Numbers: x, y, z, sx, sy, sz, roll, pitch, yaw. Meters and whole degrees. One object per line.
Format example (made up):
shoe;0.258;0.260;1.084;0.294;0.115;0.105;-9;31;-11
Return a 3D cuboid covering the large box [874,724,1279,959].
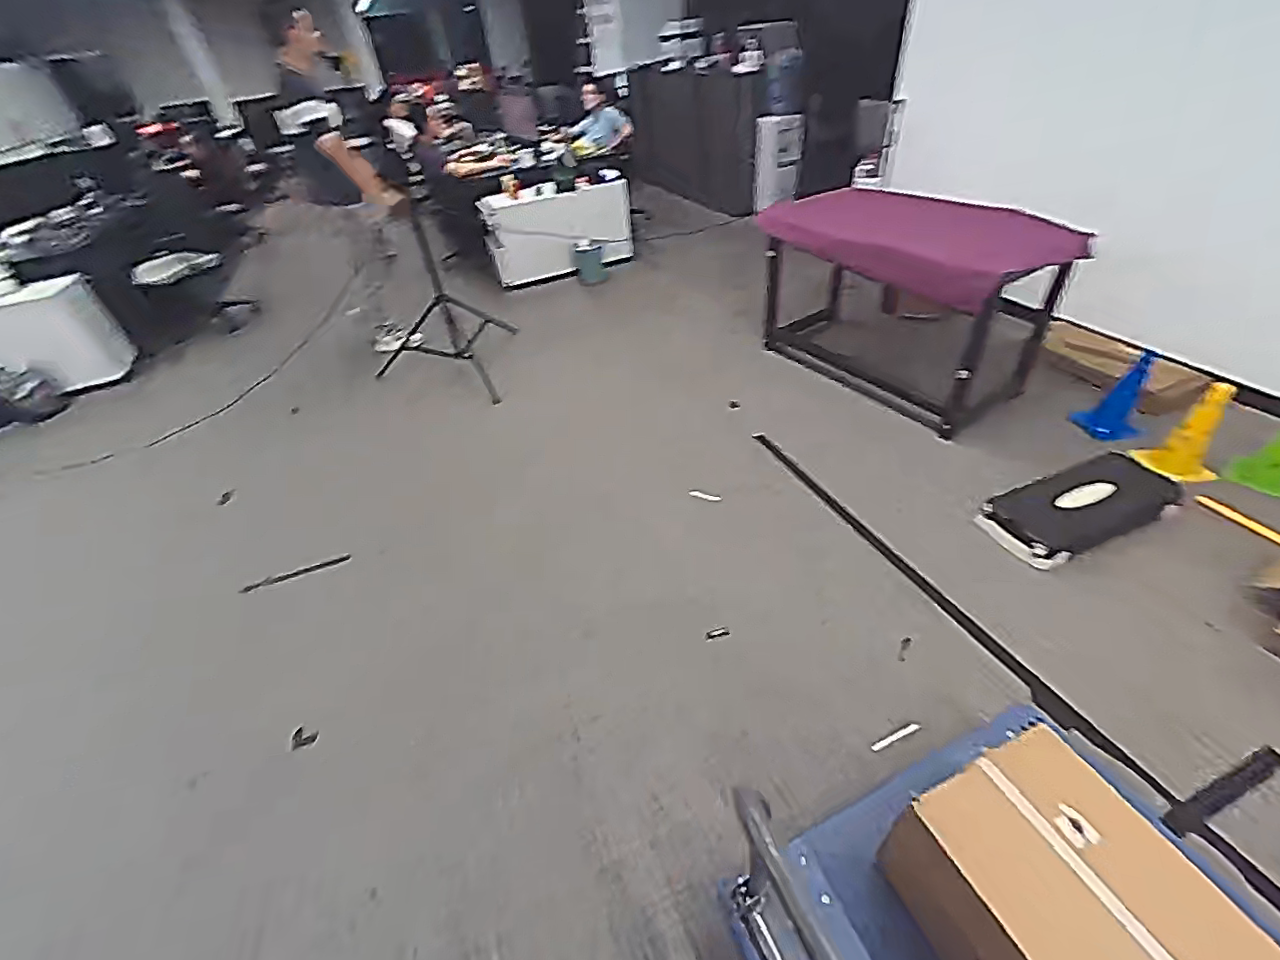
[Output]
large box;0.680;0.724;0.916;0.320;0.320;0.408;-19;41;-15
